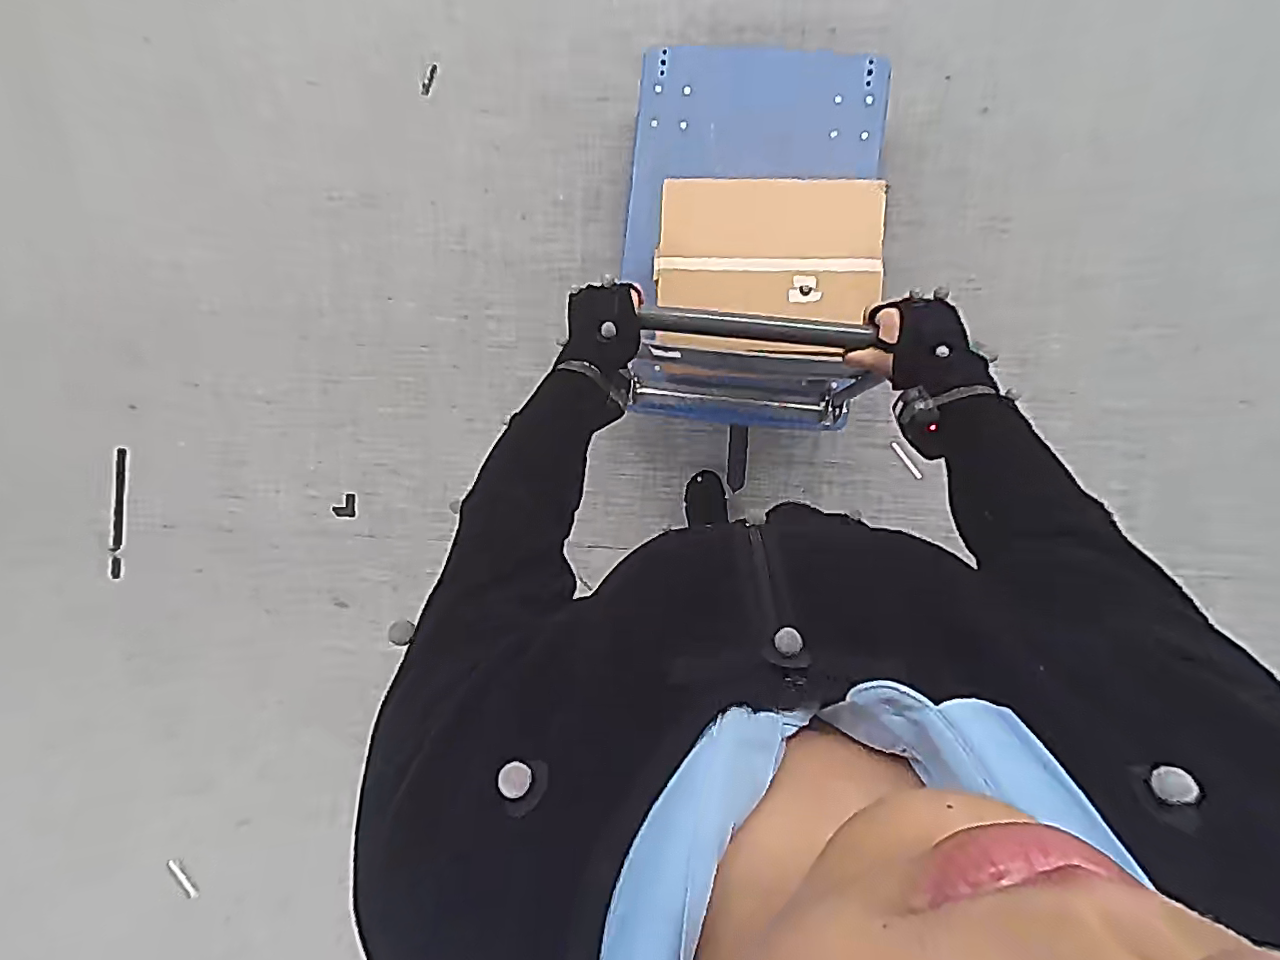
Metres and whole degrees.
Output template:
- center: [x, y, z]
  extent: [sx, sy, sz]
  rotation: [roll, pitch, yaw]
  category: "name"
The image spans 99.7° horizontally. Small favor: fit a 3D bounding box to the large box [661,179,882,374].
- center: [0.249, -0.406, 1.152]
  extent: [0.408, 0.320, 0.320]
  rotation: [2, 92, 4]
  category: "large box"
